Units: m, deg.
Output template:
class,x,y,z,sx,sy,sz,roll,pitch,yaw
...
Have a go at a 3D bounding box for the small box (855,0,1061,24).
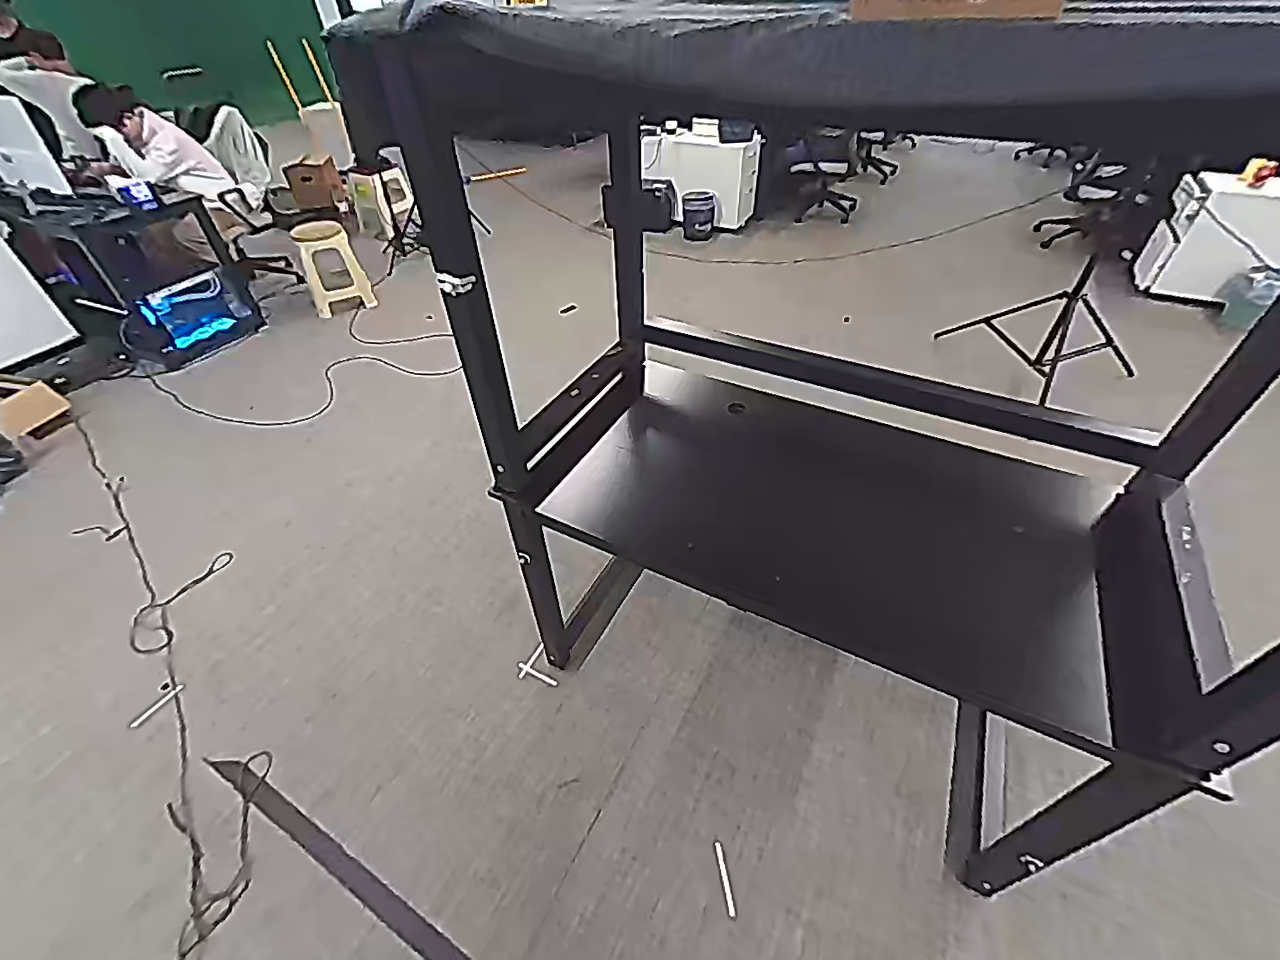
class,x,y,z,sx,sy,sz,roll,pitch,yaw
small box,0.295,-0.500,0.457,0.168,0.176,0.179,19,45,21
